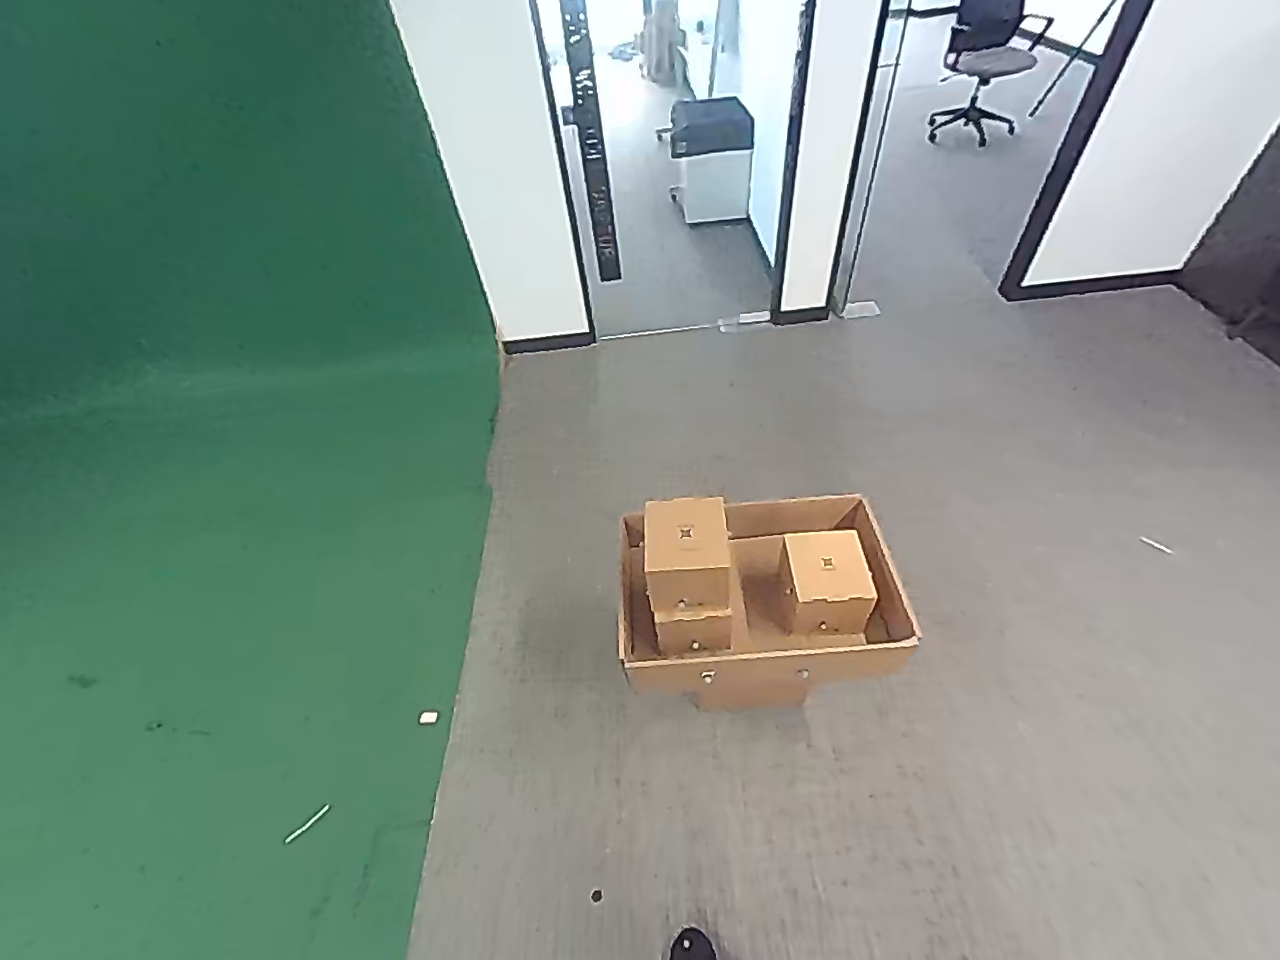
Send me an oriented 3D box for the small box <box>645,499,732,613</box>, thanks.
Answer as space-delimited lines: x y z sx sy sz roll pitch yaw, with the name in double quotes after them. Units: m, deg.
0.100 0.160 1.132 0.168 0.176 0.179 -3 47 5 "small box"
